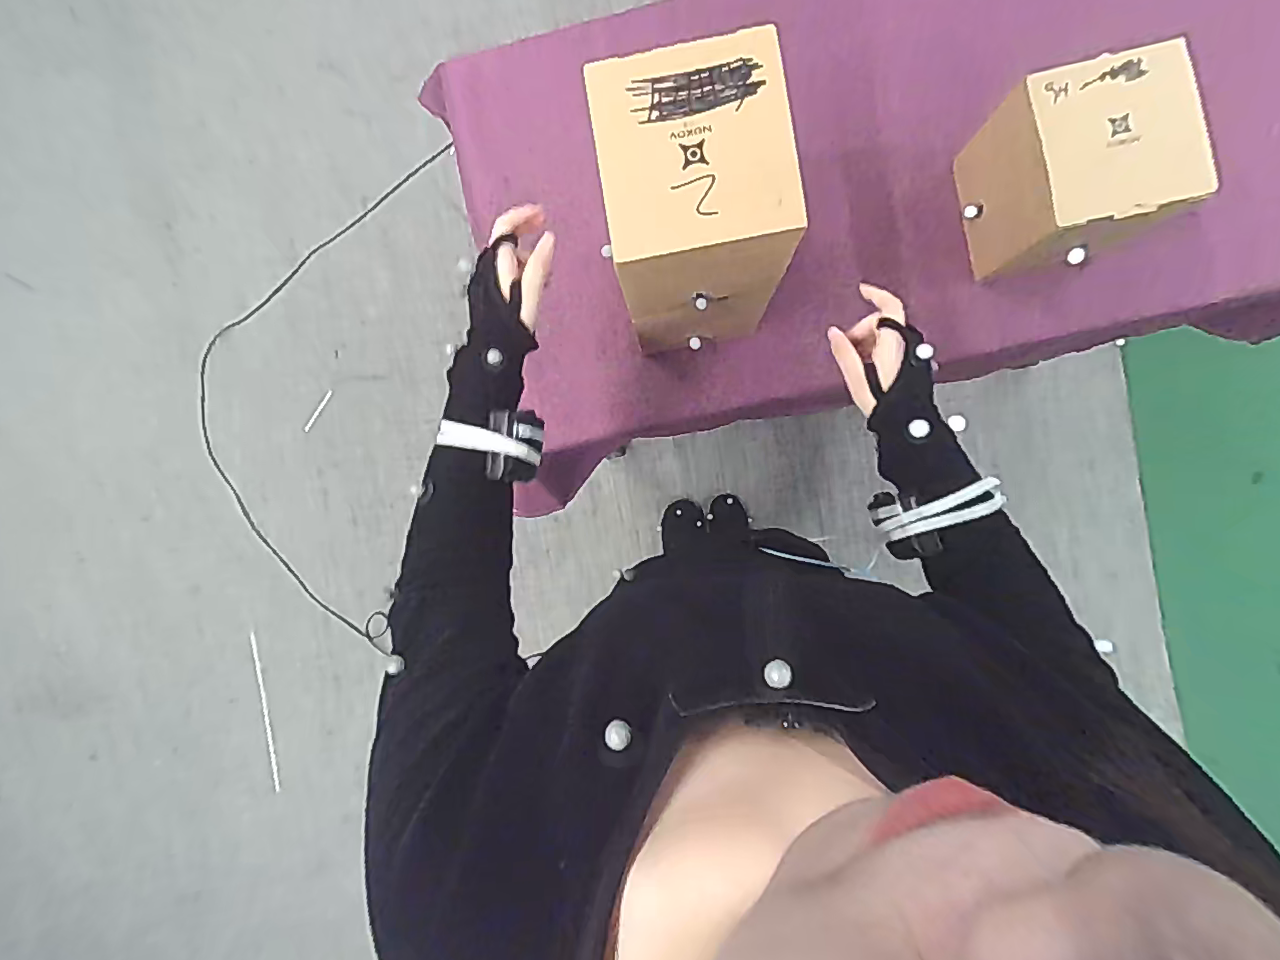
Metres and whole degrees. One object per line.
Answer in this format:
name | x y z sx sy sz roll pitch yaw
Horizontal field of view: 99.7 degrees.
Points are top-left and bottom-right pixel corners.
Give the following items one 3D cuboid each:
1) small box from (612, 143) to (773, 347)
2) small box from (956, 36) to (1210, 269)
small box | 0.064 -0.287 0.698 0.168 0.176 0.179 -9 91 5
small box | 0.520 -0.376 0.661 0.168 0.176 0.179 -10 91 4
